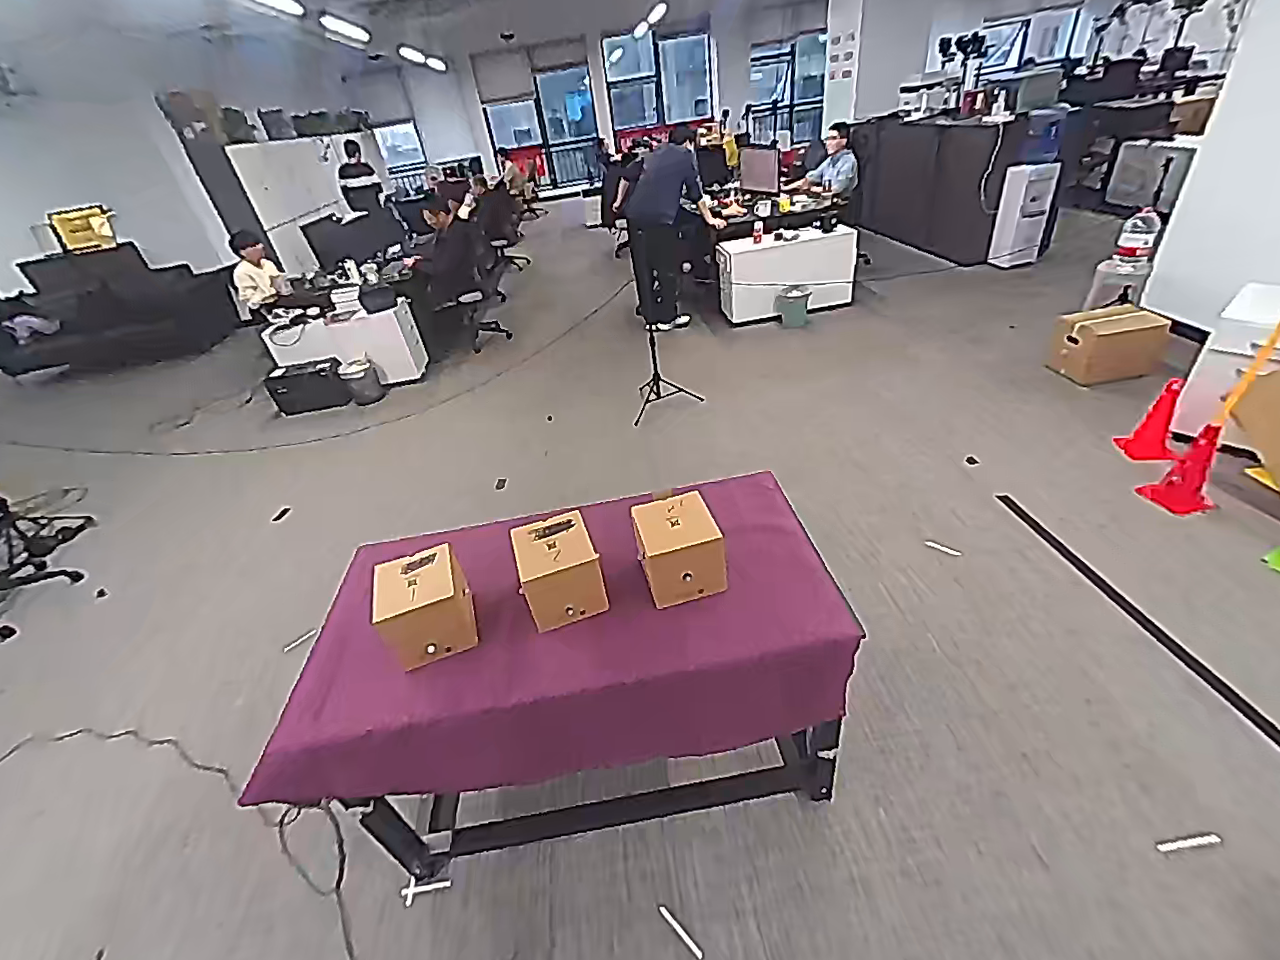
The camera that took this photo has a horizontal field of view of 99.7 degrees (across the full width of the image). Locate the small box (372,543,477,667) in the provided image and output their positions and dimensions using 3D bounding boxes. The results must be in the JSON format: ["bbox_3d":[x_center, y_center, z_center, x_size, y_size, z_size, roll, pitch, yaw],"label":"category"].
[{"bbox_3d":[-0.471,0.274,1.196,0.168,0.176,0.179,-18,37,-12],"label":"small box"}]

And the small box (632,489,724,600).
[{"bbox_3d":[0.088,0.152,1.234,0.168,0.176,0.179,-13,35,-6],"label":"small box"}]
